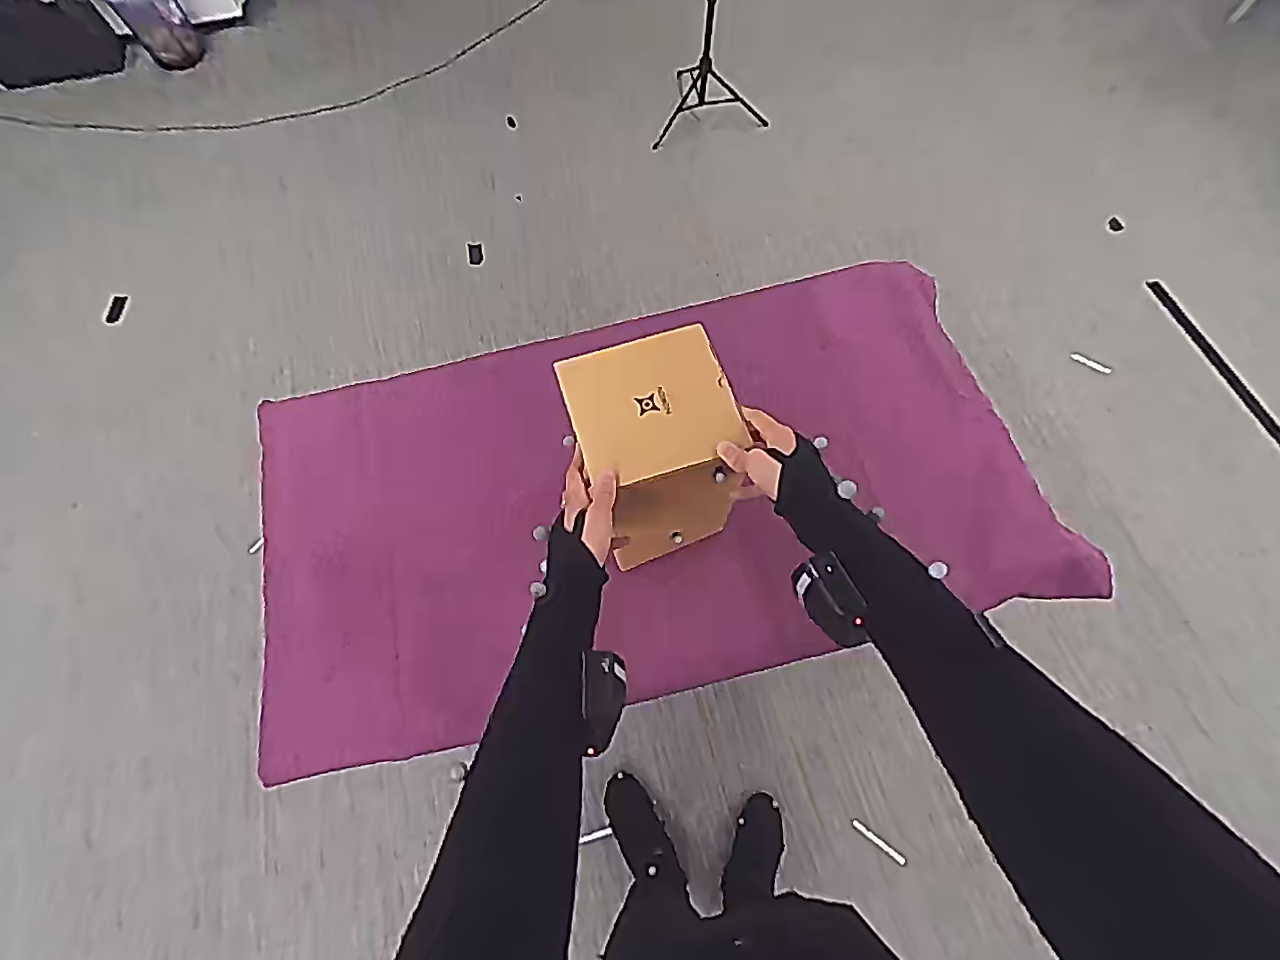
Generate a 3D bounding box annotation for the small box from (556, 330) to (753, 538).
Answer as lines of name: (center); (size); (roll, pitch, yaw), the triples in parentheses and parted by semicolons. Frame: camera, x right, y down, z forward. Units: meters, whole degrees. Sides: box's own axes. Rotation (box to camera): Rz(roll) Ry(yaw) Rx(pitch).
small box: (0.014, -0.045, 0.650); (0.179, 0.176, 0.168); (-17, 68, -7)
